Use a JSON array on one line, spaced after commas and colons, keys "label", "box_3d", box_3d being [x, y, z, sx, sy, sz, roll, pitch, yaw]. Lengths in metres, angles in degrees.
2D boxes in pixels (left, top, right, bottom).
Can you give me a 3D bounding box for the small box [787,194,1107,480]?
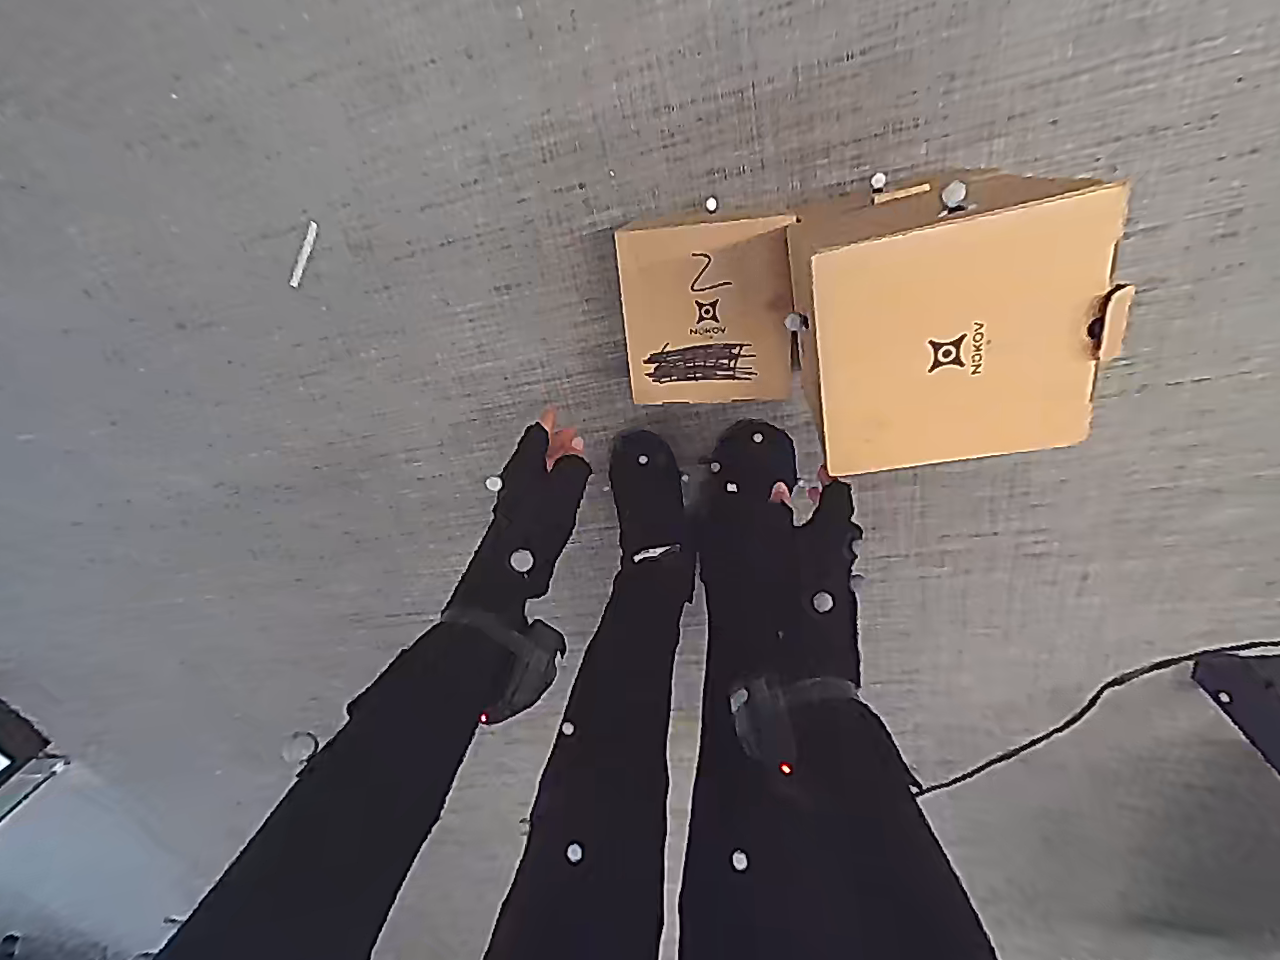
[{"label": "small box", "box_3d": [0.217, -0.120, 0.436, 0.179, 0.176, 0.168, -9, 118, 14]}]
